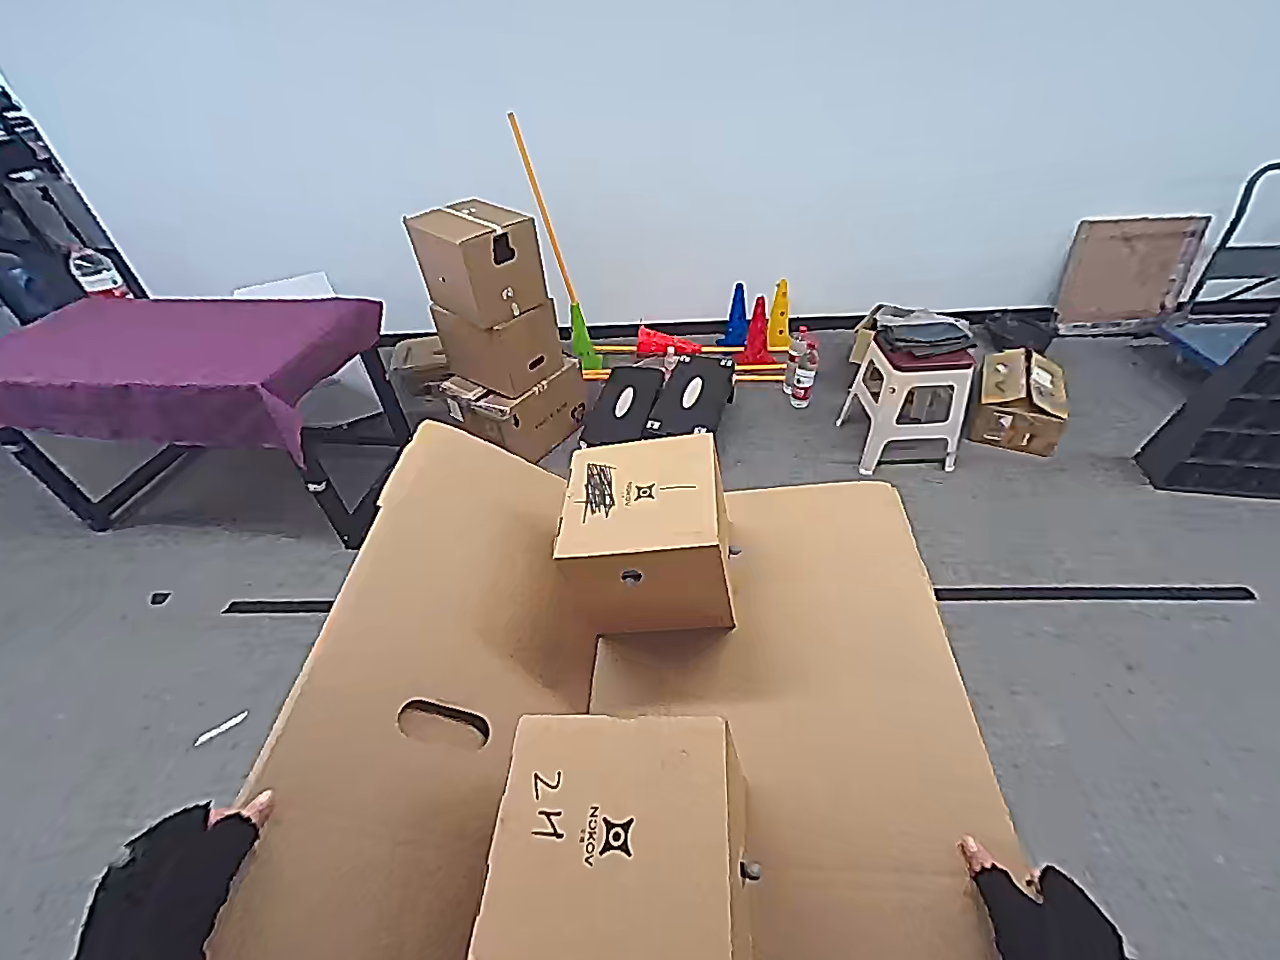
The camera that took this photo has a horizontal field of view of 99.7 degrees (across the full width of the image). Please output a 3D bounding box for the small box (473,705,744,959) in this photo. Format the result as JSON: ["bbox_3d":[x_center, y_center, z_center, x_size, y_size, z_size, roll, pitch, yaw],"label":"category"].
[{"bbox_3d":[-0.005,0.305,0.457,0.179,0.176,0.168,-5,46,13],"label":"small box"}]

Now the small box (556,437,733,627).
[{"bbox_3d":[0.017,0.070,0.673,0.179,0.176,0.168,-6,46,12],"label":"small box"}]
